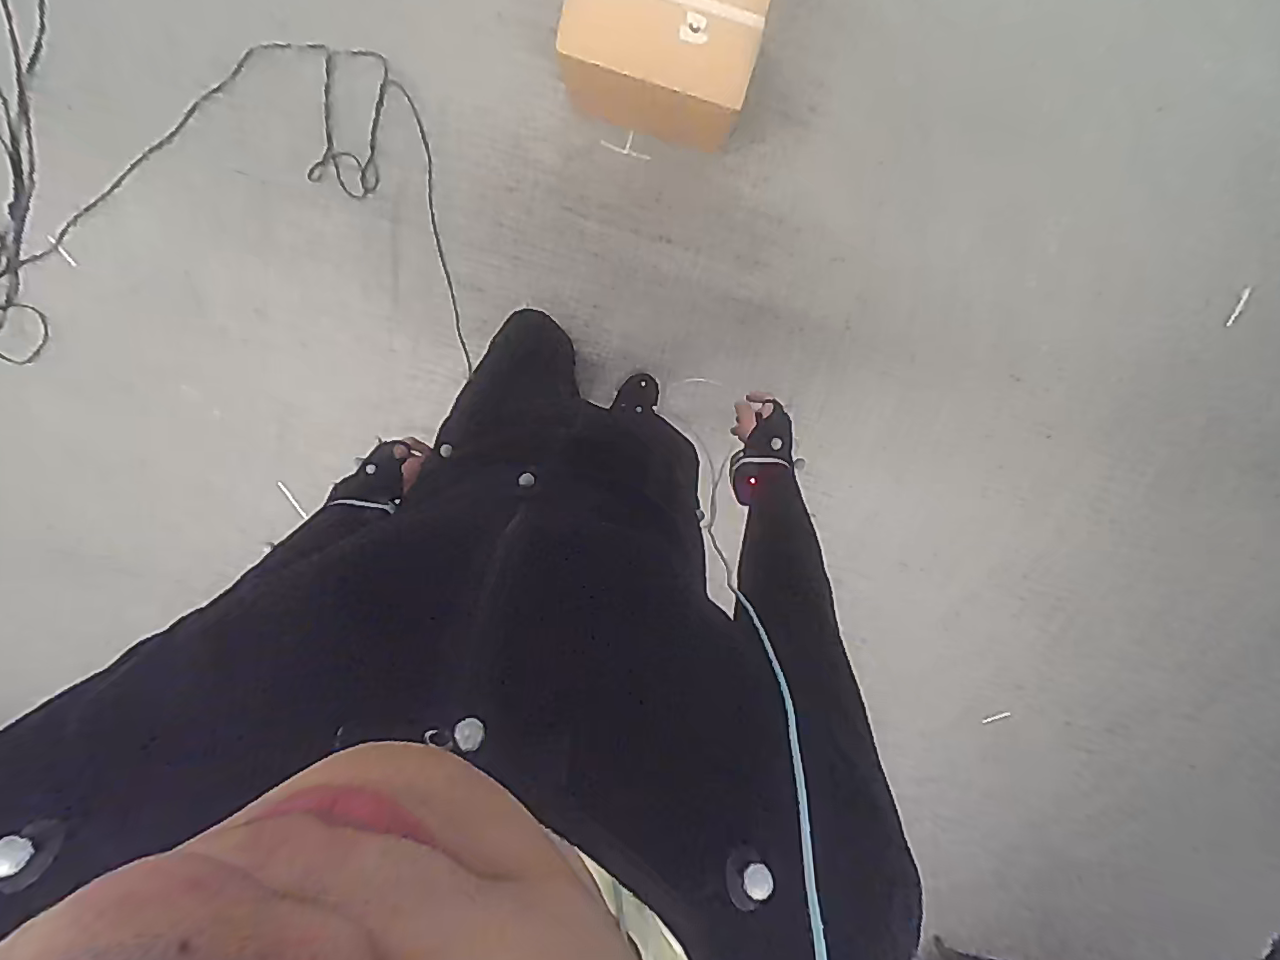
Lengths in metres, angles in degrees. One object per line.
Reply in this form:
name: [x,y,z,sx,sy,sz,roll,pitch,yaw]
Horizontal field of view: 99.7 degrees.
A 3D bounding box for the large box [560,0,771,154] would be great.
large box: [0.058,-1.012,1.237,0.408,0.320,0.320,14,104,-4]
